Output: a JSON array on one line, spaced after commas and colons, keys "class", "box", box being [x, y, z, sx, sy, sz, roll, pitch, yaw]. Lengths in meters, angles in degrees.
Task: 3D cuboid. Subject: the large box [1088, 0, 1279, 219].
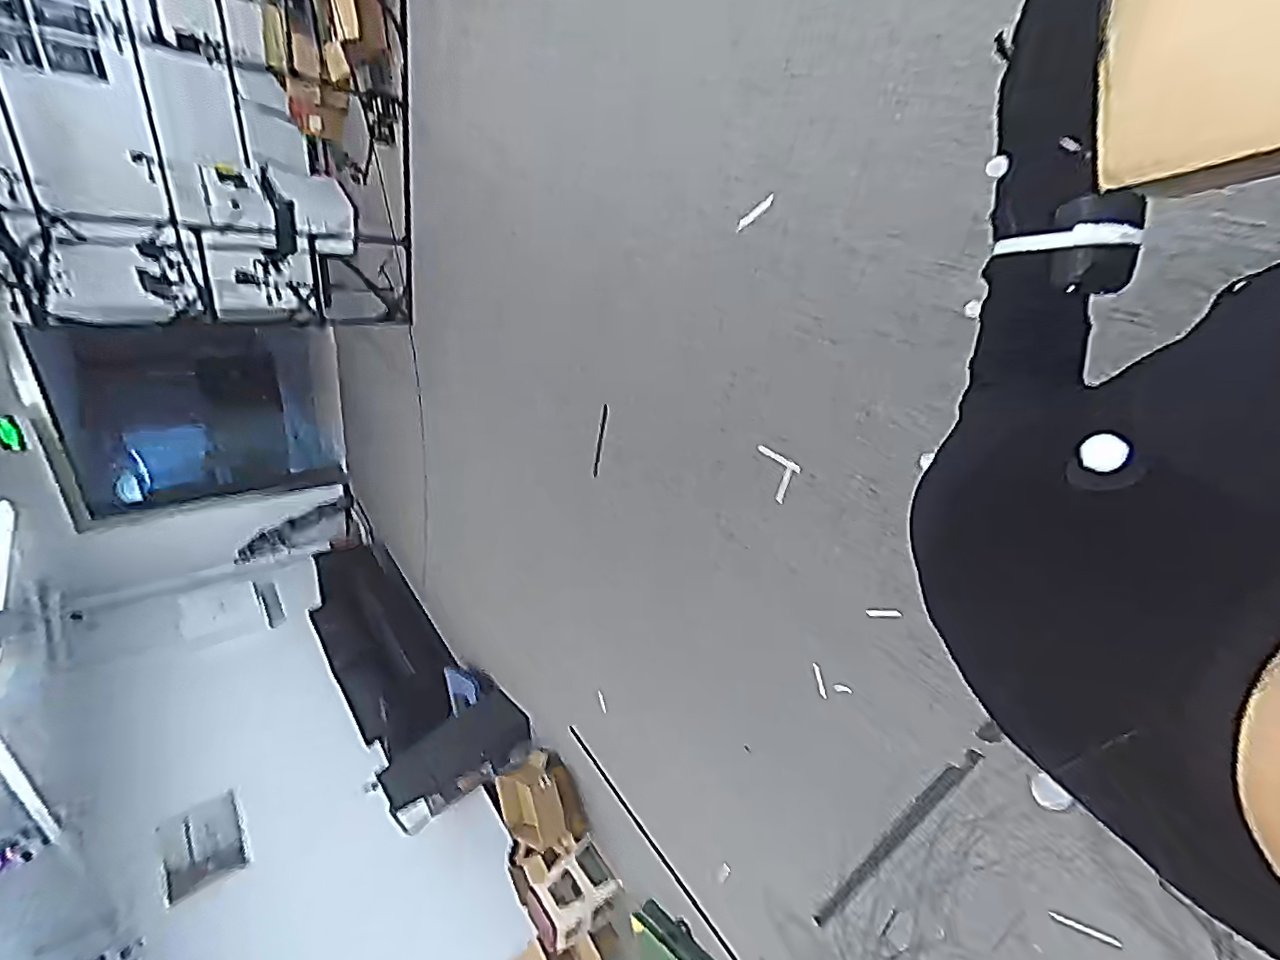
[{"class": "large box", "box": [0.546, -0.381, 0.316, 0.408, 0.320, 0.320, 2, 109, 50]}]
